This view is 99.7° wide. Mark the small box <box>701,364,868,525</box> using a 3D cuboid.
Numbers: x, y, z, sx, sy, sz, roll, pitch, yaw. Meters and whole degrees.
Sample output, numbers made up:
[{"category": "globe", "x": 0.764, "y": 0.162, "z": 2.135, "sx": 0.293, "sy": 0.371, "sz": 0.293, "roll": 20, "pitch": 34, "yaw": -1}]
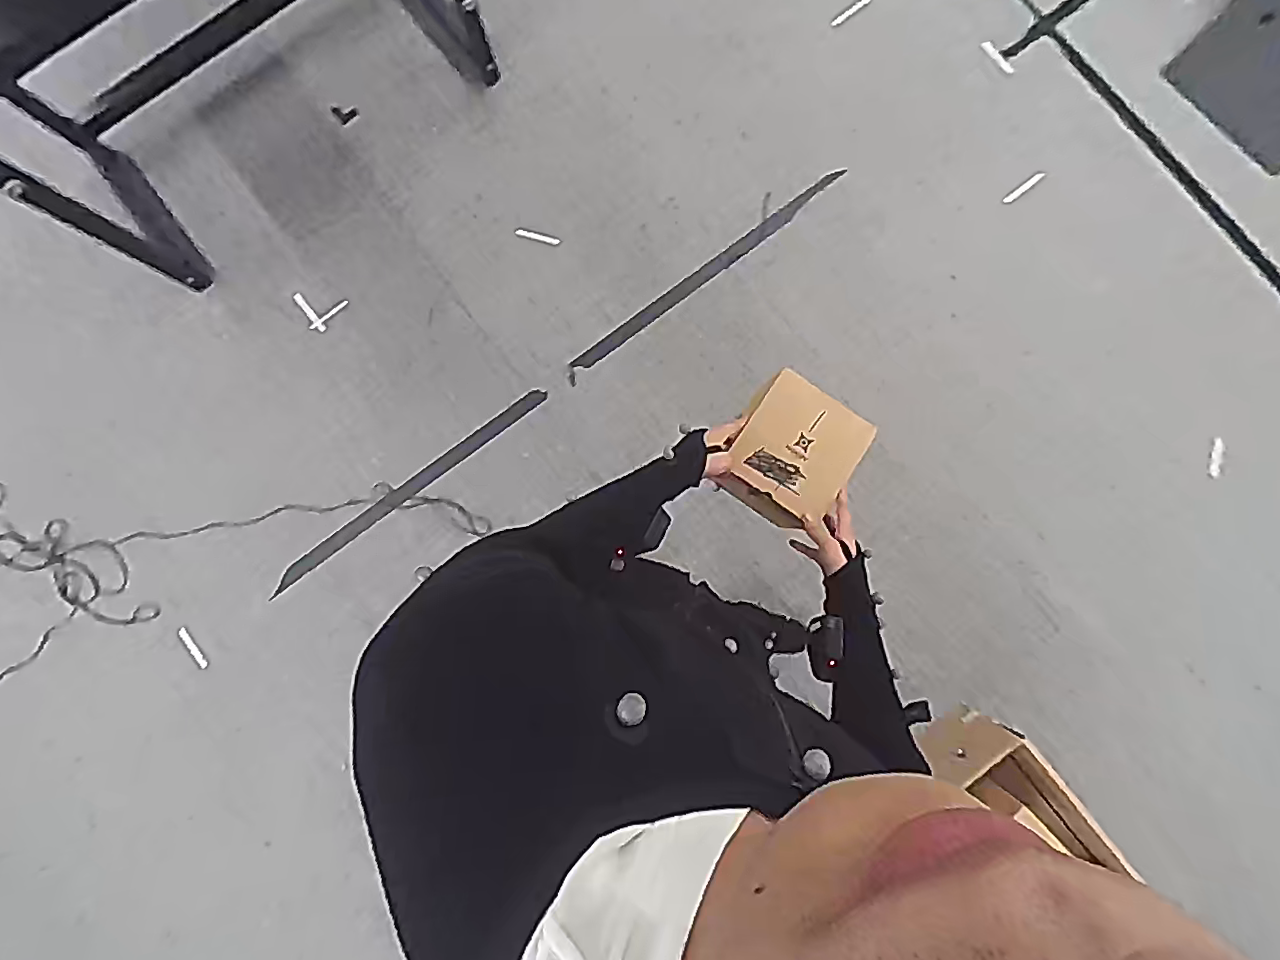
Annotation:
[{"category": "small box", "x": 0.209, "y": -0.045, "z": 0.842, "sx": 0.168, "sy": 0.176, "sz": 0.179, "roll": 34, "pitch": 85, "yaw": 0}]
